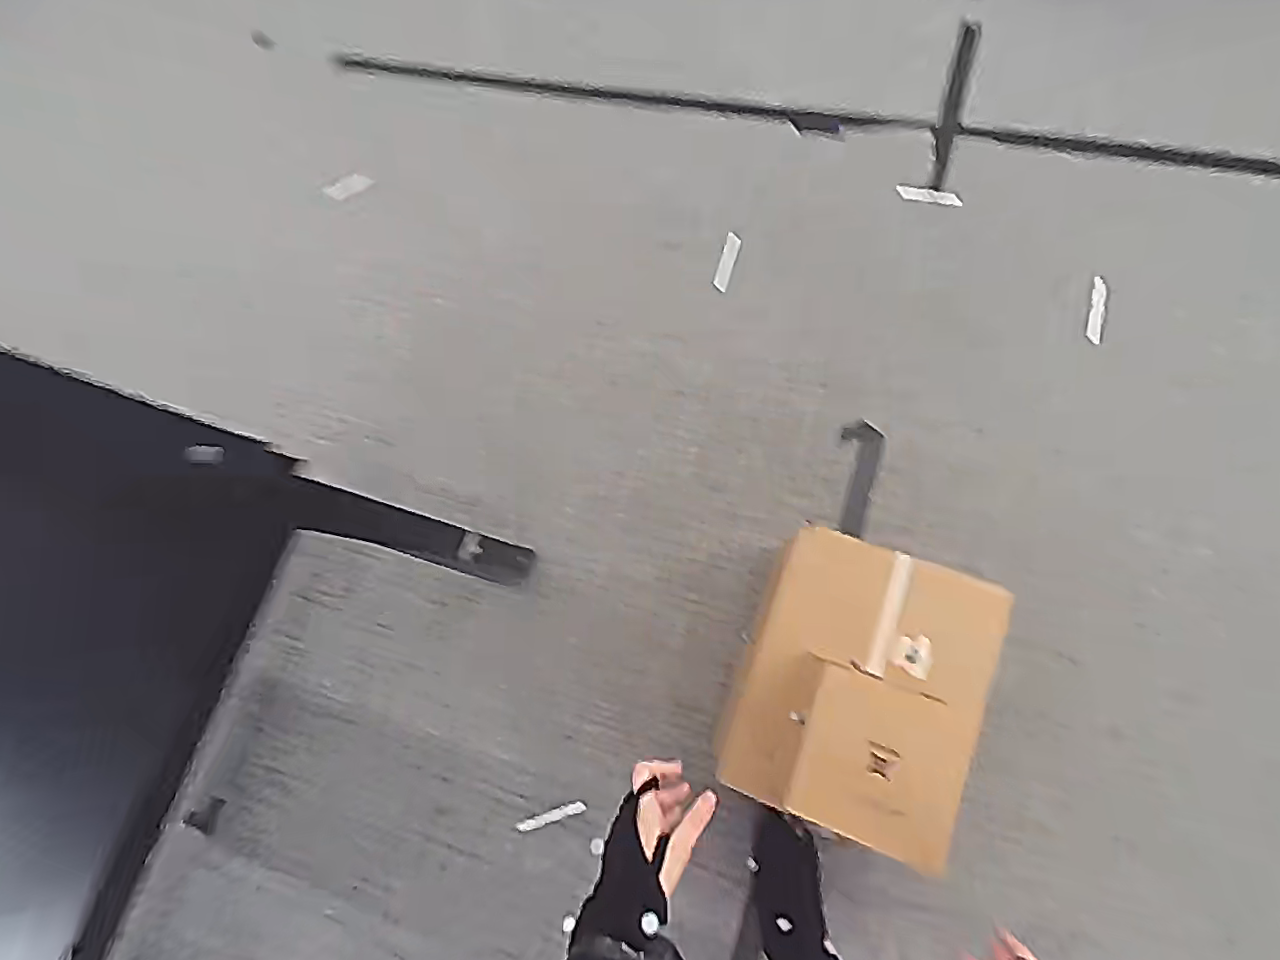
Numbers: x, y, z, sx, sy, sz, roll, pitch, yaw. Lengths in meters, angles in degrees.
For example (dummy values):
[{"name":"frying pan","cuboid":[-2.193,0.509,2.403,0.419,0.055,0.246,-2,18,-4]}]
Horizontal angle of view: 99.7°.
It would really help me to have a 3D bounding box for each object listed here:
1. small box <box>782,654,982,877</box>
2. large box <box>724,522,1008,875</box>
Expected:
[{"name":"small box","cuboid":[0.283,0.330,0.672,0.168,0.176,0.179,19,79,14]},{"name":"large box","cuboid":[0.347,0.333,0.918,0.320,0.320,0.408,19,78,11]}]
